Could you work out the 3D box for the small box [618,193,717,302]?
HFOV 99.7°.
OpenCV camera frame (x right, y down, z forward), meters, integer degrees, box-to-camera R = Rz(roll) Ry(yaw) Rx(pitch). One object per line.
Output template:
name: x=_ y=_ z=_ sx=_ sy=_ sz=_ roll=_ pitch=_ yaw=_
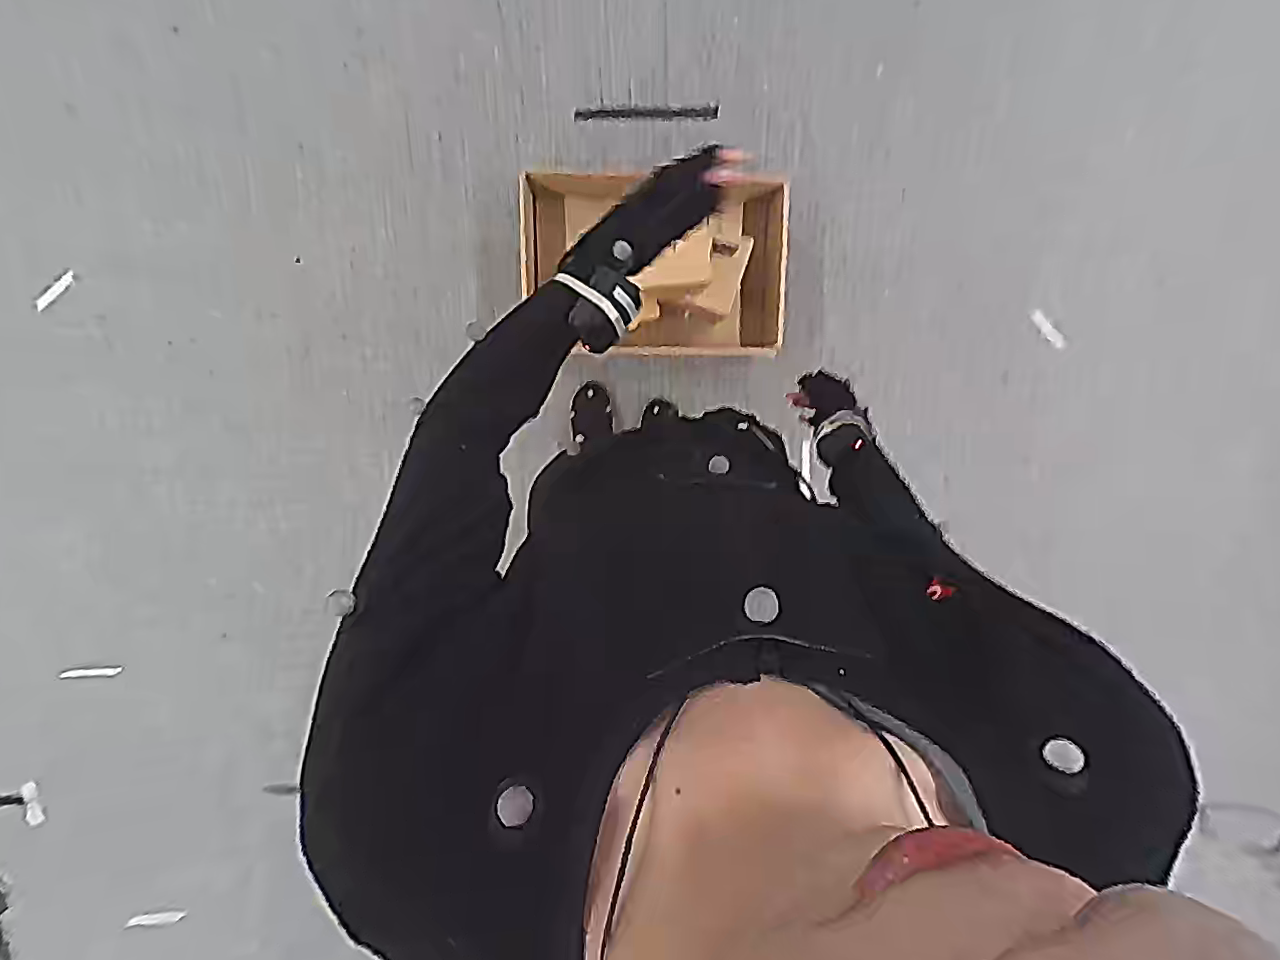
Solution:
small box: x=0.052 y=-0.480 z=1.135 sx=0.179 sy=0.176 sz=0.168 roll=-8 pitch=99 yaw=-2
